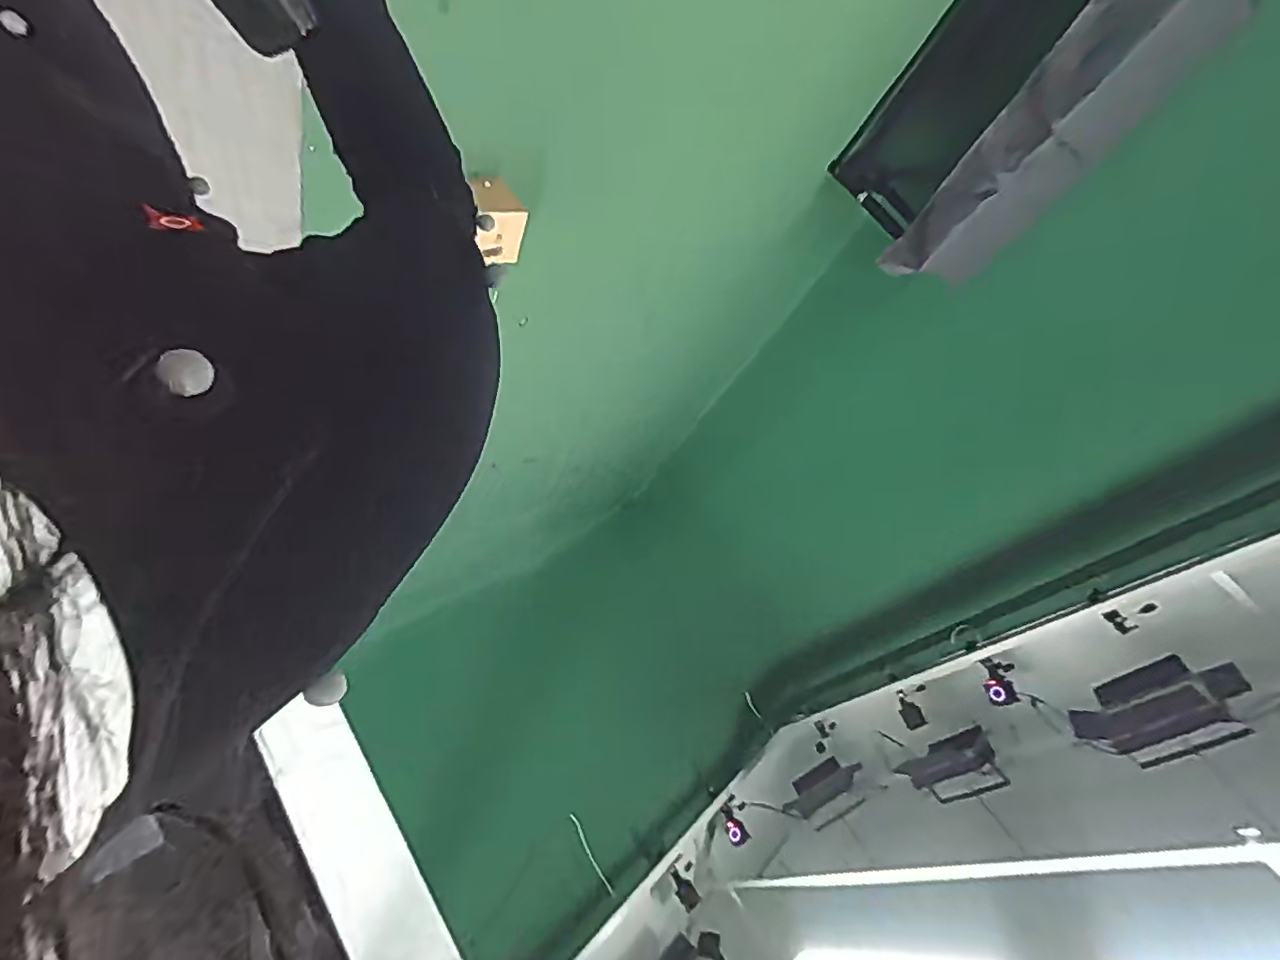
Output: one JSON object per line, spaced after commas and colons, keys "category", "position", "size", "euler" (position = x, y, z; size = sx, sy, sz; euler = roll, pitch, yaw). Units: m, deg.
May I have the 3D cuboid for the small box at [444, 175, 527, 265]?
{"category": "small box", "position": [-0.468, -0.775, 1.618], "size": [0.168, 0.176, 0.179], "euler": [-24, 159, -39]}
